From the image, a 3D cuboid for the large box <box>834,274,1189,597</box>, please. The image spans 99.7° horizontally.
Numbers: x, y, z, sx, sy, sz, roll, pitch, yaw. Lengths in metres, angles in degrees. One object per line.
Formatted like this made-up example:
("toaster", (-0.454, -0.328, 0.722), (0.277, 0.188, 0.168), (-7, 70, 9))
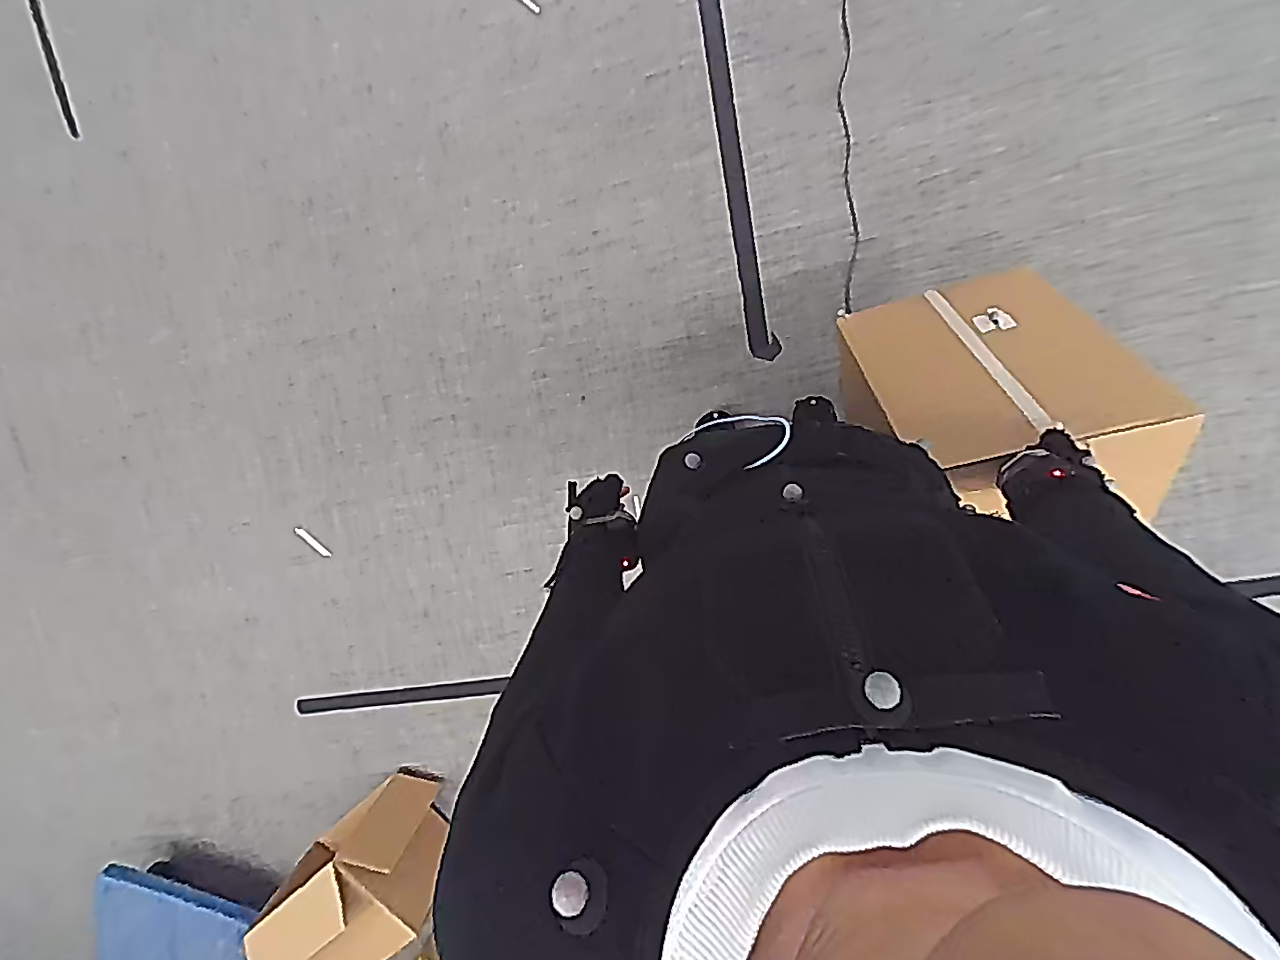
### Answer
("large box", (0.549, -0.077, 0.905), (0.320, 0.408, 0.320), (-14, 132, 11))
